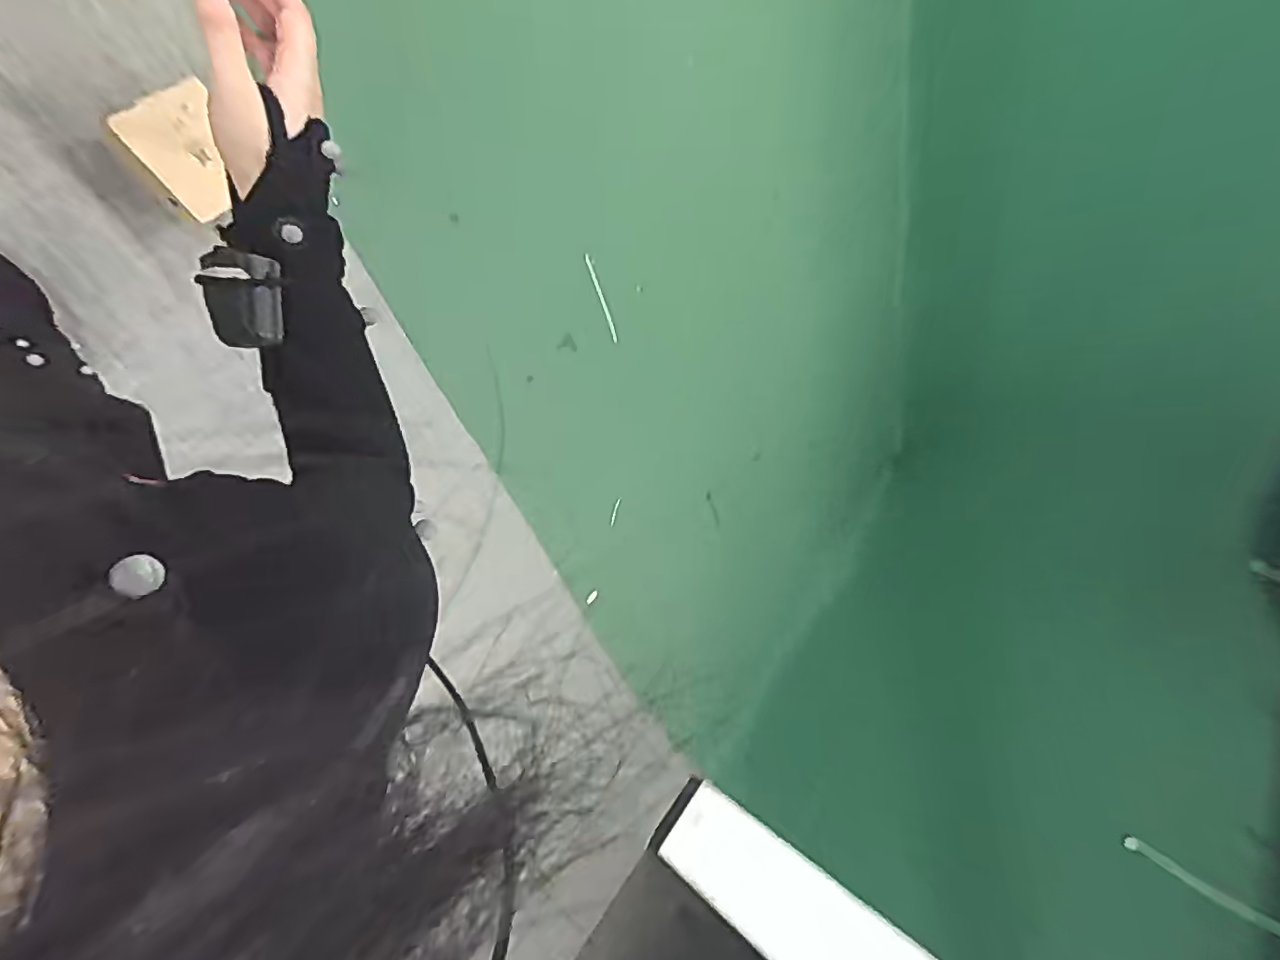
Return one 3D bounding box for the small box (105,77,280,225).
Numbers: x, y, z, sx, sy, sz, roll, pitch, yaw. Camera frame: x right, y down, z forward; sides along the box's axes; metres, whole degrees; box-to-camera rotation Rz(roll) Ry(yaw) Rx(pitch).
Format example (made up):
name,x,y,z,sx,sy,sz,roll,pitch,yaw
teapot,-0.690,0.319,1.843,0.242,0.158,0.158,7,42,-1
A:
name,x,y,z,sx,sy,sz,roll,pitch,yaw
small box,-0.819,-0.594,0.993,0.168,0.176,0.179,-51,136,-22
